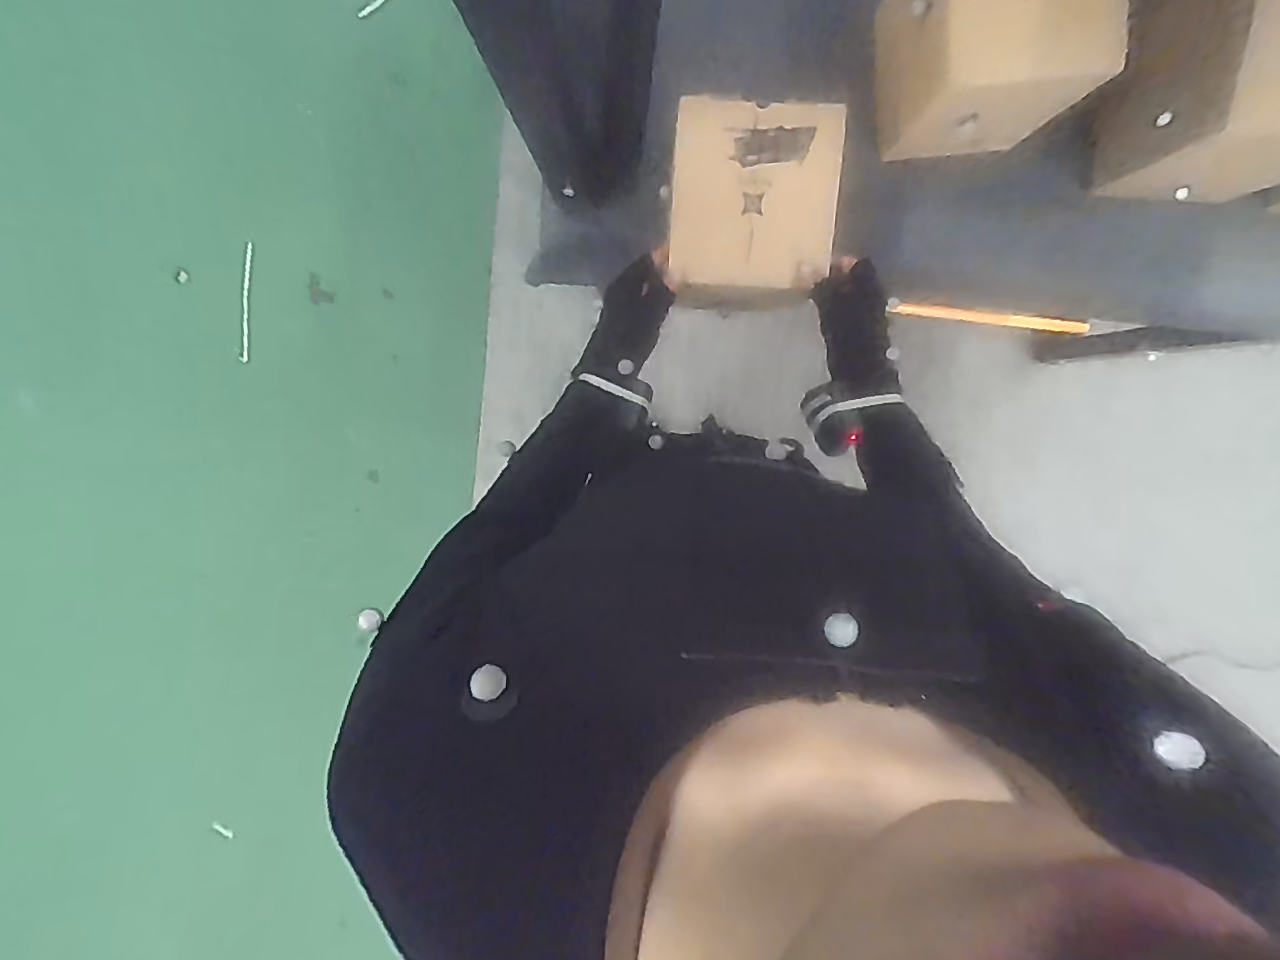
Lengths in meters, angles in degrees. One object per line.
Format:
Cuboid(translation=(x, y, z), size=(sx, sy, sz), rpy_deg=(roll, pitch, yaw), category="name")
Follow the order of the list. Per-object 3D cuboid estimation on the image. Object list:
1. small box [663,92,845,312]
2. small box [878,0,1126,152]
Cuboid(translation=(0.115, -0.299, 0.616), size=(0.168, 0.176, 0.179), rpy_deg=(4, 100, 1), category="small box")
Cuboid(translation=(0.372, -0.480, 0.583), size=(0.168, 0.176, 0.179), rpy_deg=(-4, 98, 3), category="small box")
